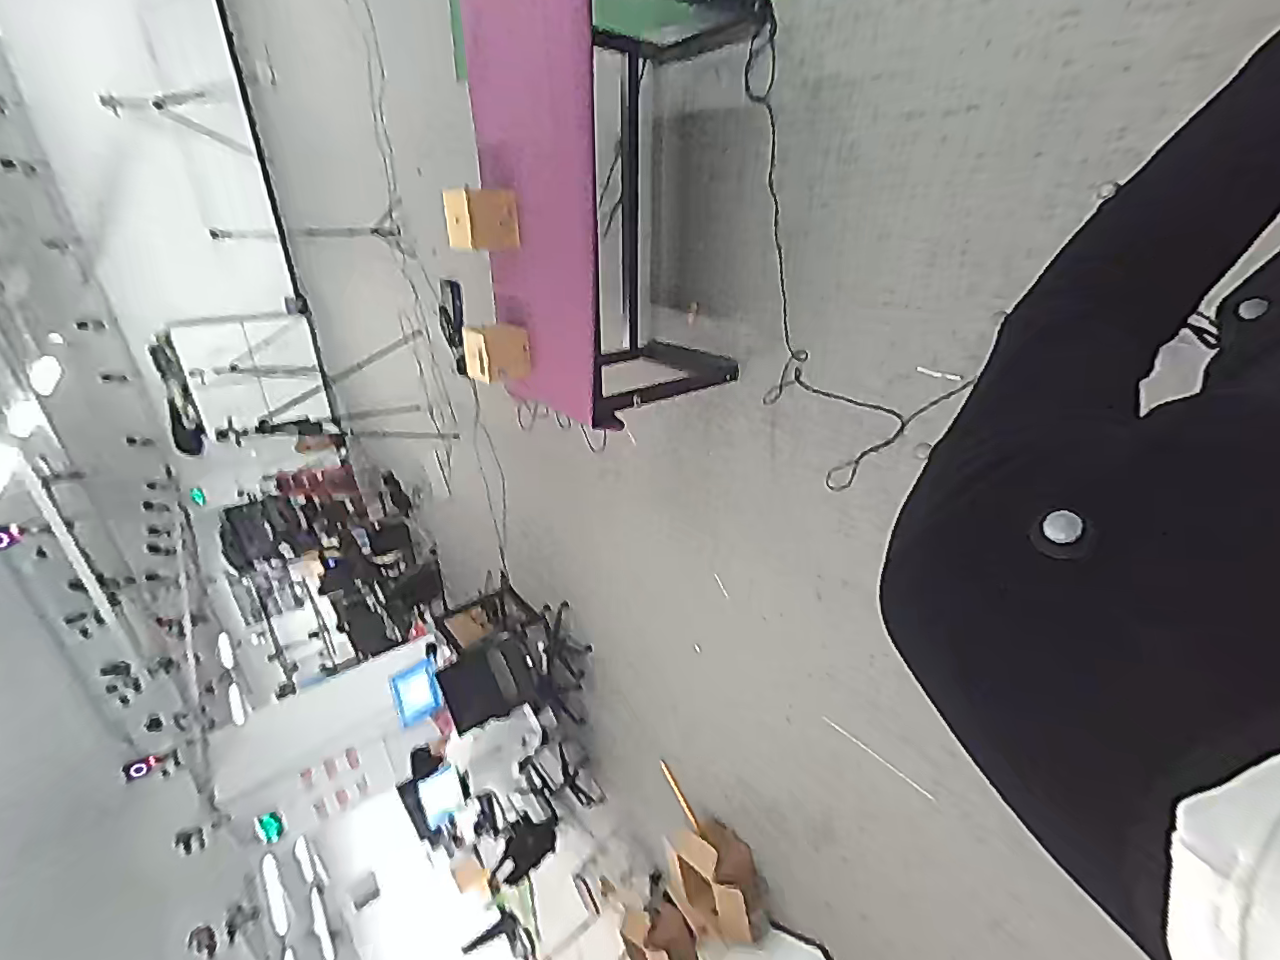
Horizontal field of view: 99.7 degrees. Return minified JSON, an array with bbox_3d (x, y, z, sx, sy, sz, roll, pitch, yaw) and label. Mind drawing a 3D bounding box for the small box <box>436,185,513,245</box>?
[{"bbox_3d":[-0.522,-0.840,1.718,0.179,0.176,0.168,27,127,42],"label":"small box"}]
